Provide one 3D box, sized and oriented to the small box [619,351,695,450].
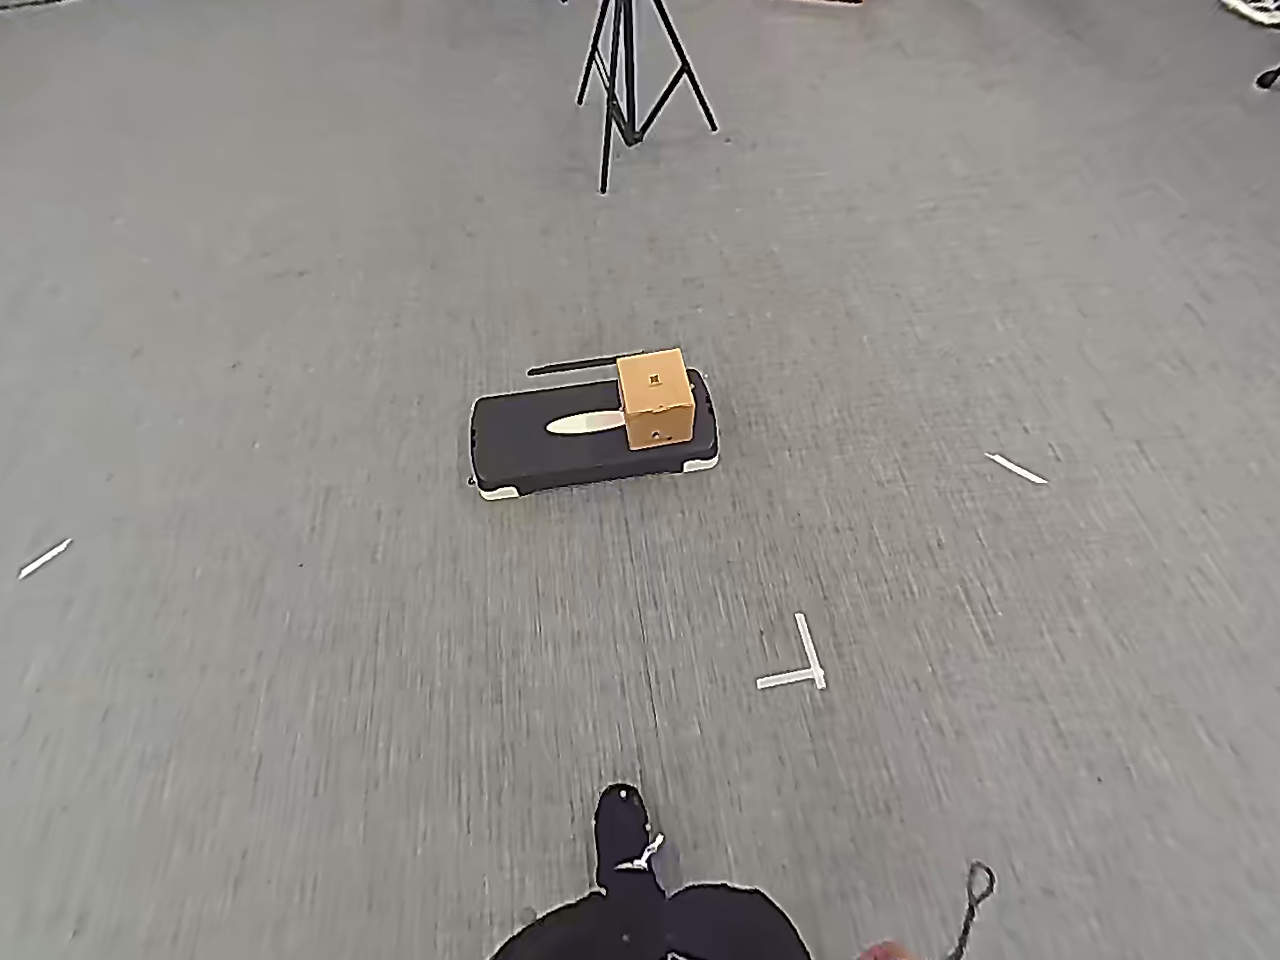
[{"bbox_3d":[0.039,-0.202,1.394,0.168,0.176,0.179,-10,64,-4],"label":"small box"}]
